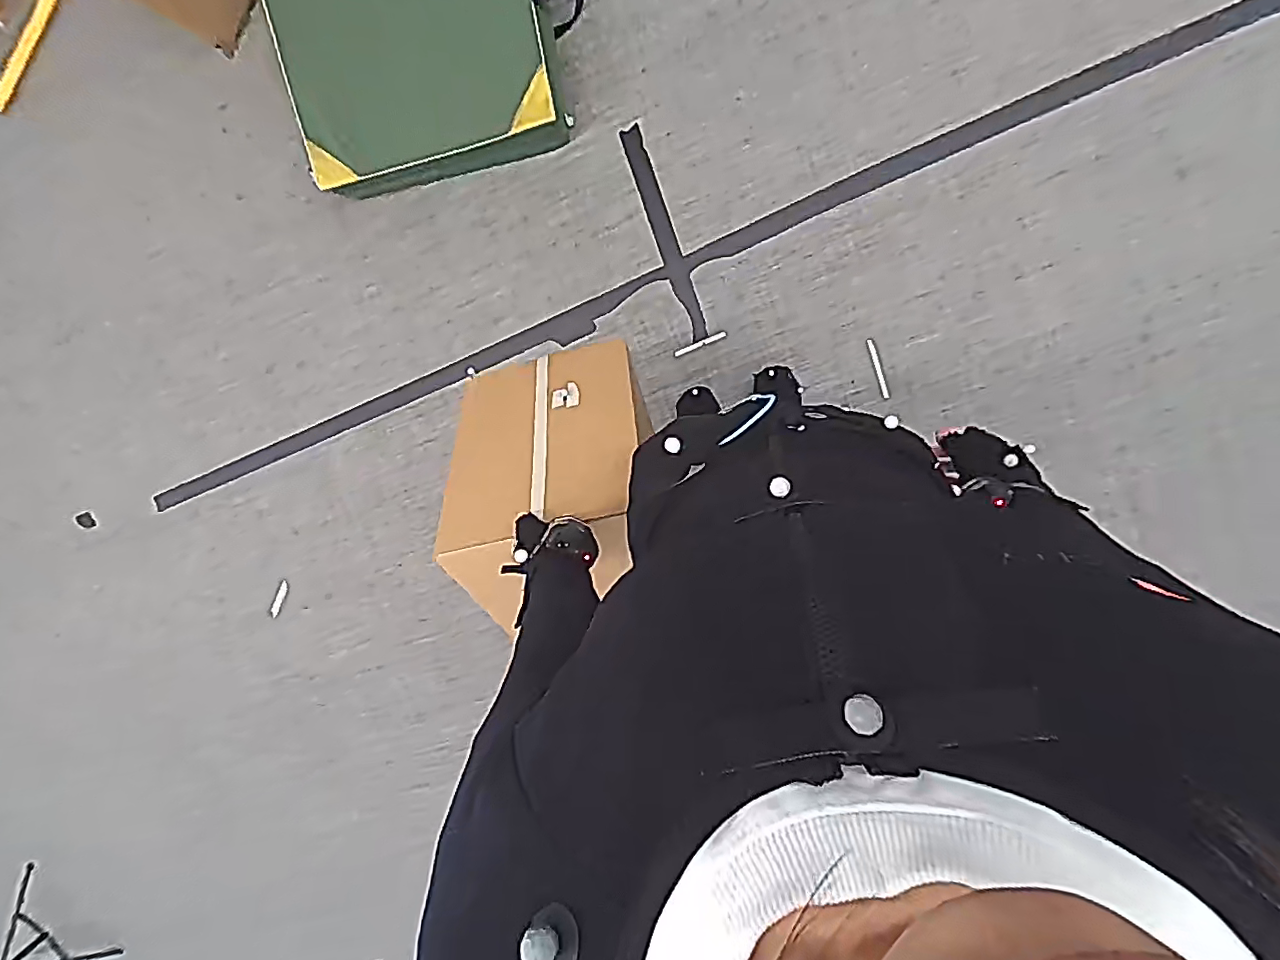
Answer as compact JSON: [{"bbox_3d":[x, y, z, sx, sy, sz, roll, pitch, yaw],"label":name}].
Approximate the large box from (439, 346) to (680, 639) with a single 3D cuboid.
[{"bbox_3d":[-0.127,0.025,1.001,0.320,0.408,0.320,-12,138,7],"label":"large box"}]
